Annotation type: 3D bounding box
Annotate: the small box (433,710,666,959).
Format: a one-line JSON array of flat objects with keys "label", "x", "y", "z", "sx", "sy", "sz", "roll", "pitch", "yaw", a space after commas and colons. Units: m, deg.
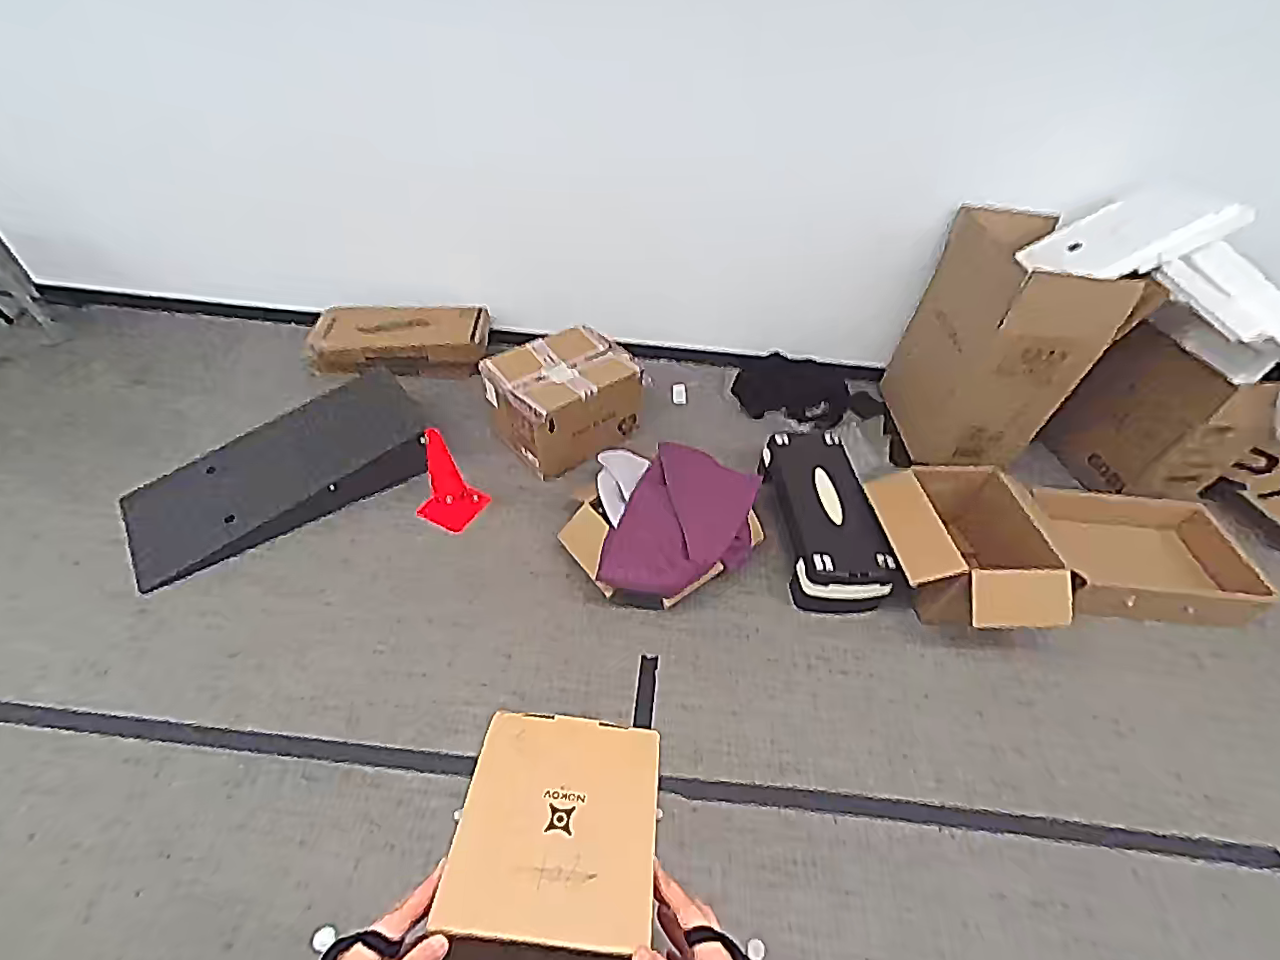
[{"label": "small box", "x": -0.072, "y": 0.346, "z": 0.499, "sx": 0.168, "sy": 0.176, "sz": 0.179, "roll": 8, "pitch": 37, "yaw": 0}]
